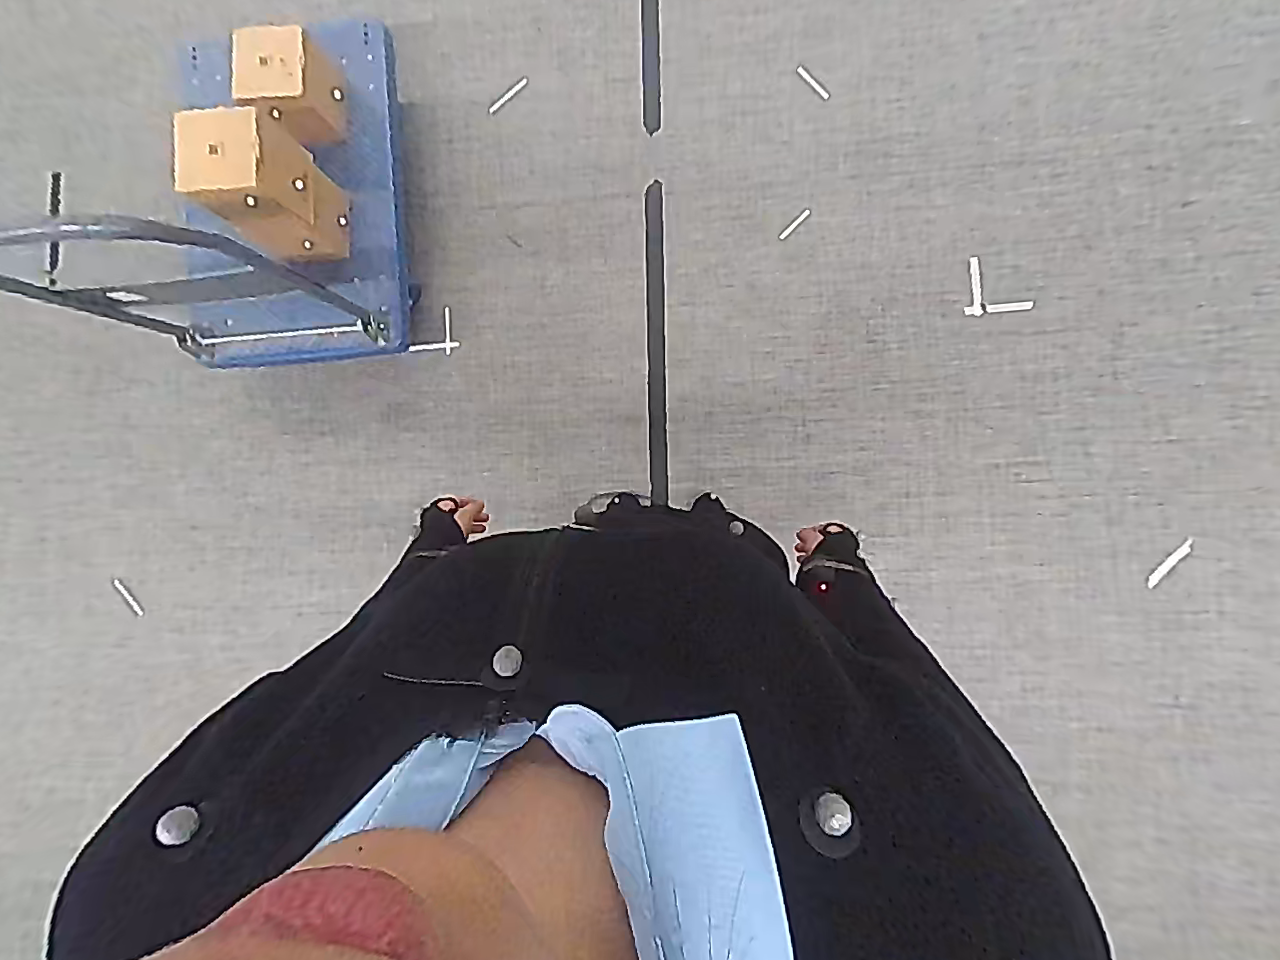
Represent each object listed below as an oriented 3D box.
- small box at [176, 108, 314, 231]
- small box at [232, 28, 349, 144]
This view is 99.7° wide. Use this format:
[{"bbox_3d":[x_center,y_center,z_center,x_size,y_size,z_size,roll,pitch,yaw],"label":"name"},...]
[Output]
[{"bbox_3d":[-0.833,-0.649,1.152,0.179,0.176,0.168,-2,88,3],"label":"small box"},{"bbox_3d":[-0.848,-0.952,1.322,0.179,0.176,0.168,0,89,4],"label":"small box"}]
